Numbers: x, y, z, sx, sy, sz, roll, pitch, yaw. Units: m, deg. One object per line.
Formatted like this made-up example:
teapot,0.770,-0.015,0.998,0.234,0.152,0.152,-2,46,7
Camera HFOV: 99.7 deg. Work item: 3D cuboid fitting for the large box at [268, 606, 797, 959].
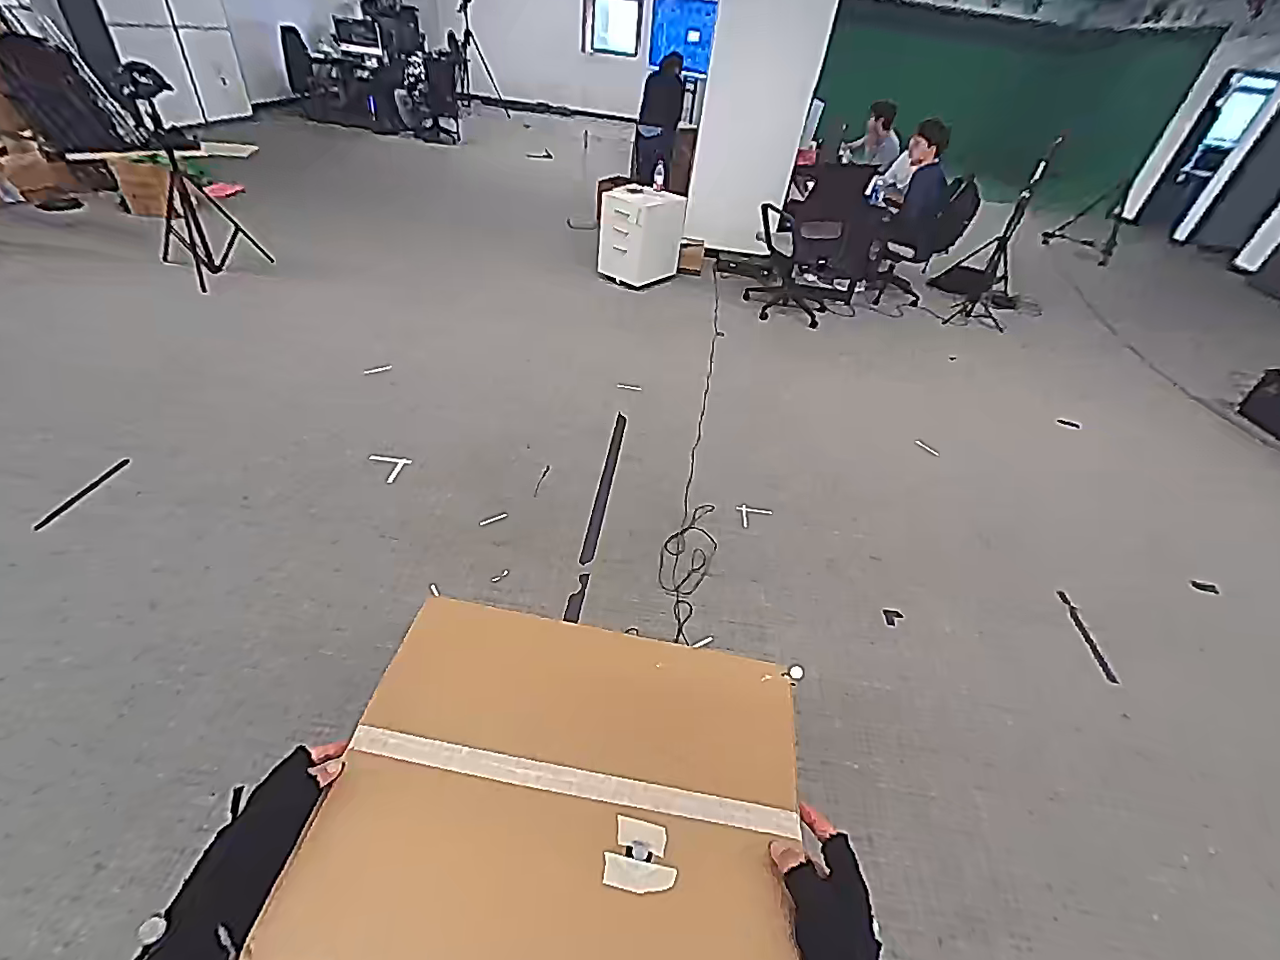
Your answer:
large box,-0.077,0.384,0.598,0.408,0.320,0.320,11,44,2
